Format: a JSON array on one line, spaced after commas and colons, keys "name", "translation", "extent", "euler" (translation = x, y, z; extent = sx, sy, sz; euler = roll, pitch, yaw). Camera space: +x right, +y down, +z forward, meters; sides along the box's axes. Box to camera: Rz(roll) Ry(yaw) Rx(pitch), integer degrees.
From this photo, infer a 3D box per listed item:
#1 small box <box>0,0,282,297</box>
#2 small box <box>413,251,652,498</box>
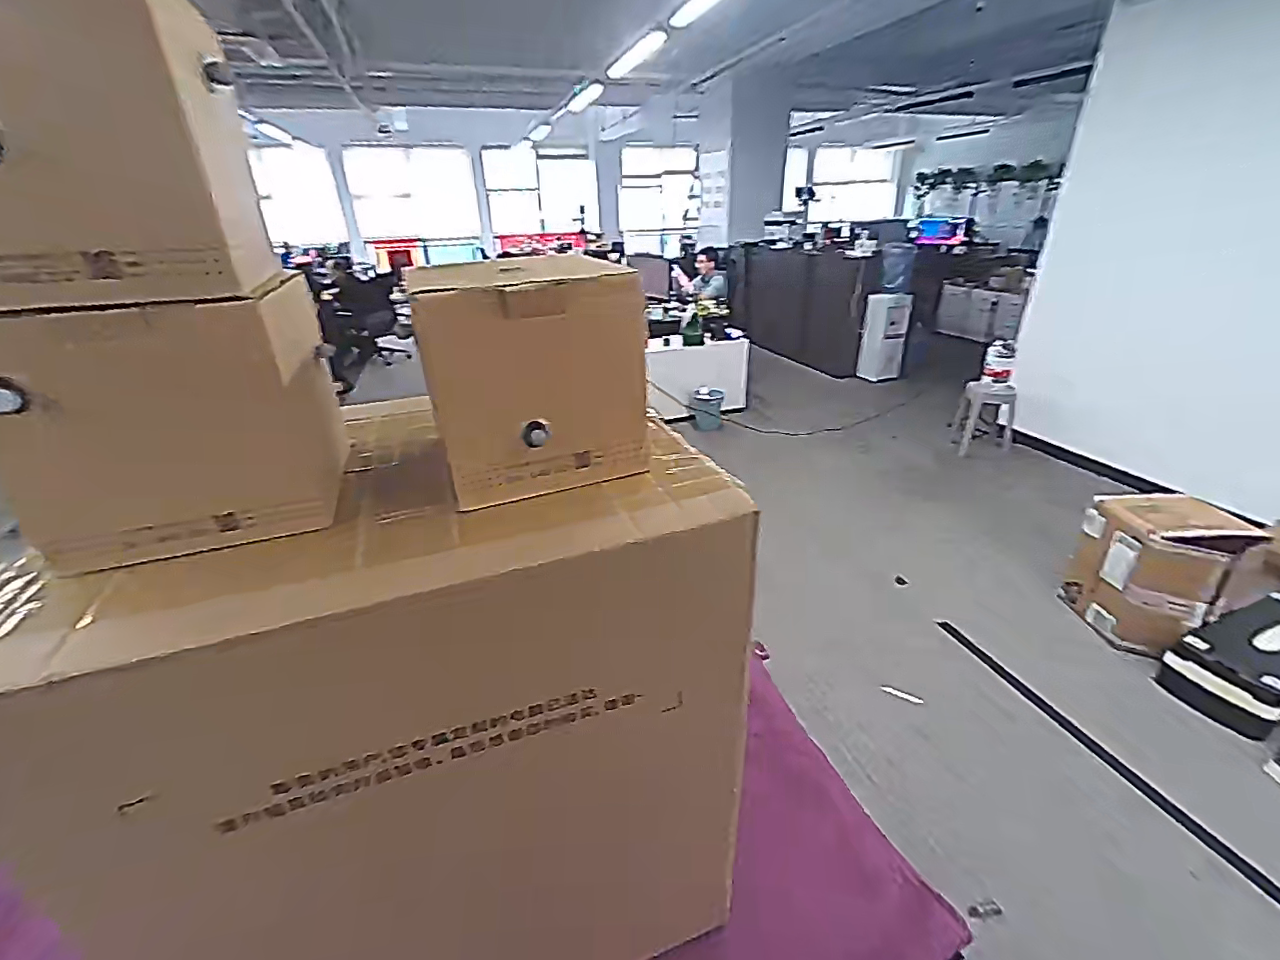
[{"name": "small box", "translation": [-0.343, -0.206, 0.330], "extent": [0.168, 0.176, 0.179], "euler": [-11, 28, -21]}, {"name": "small box", "translation": [-0.097, -0.103, 0.479], "extent": [0.168, 0.176, 0.179], "euler": [-13, 29, -19]}]
